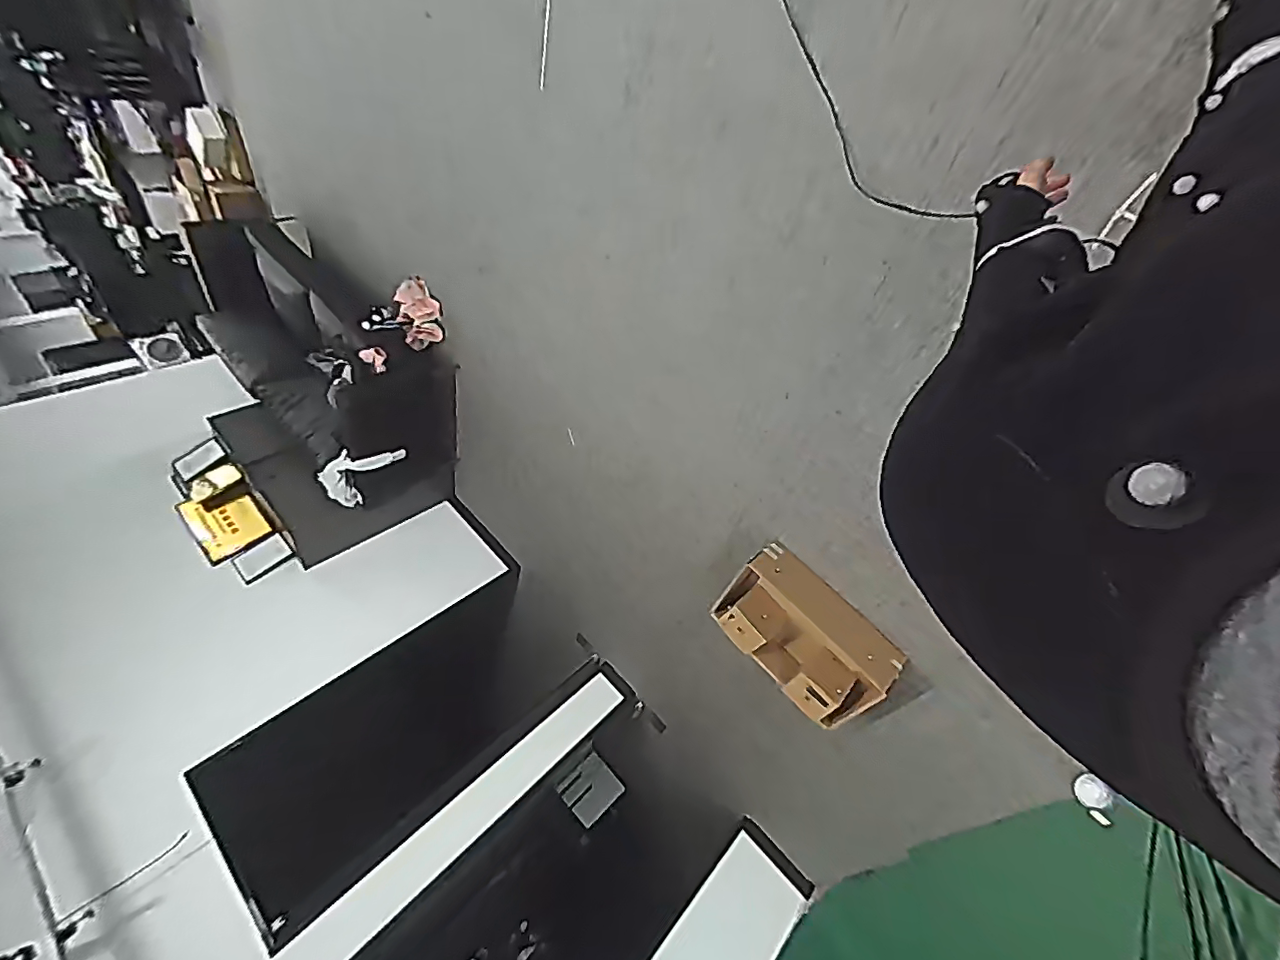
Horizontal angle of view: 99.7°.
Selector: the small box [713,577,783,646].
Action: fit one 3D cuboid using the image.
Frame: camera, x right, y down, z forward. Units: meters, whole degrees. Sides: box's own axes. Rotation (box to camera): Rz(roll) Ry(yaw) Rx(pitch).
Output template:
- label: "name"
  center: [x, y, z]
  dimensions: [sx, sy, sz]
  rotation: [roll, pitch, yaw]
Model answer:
- label: "small box"
  center: [0.432, 0.520, 2.150]
  dimensions: [0.179, 0.176, 0.168]
  rotation: [48, 140, 11]
